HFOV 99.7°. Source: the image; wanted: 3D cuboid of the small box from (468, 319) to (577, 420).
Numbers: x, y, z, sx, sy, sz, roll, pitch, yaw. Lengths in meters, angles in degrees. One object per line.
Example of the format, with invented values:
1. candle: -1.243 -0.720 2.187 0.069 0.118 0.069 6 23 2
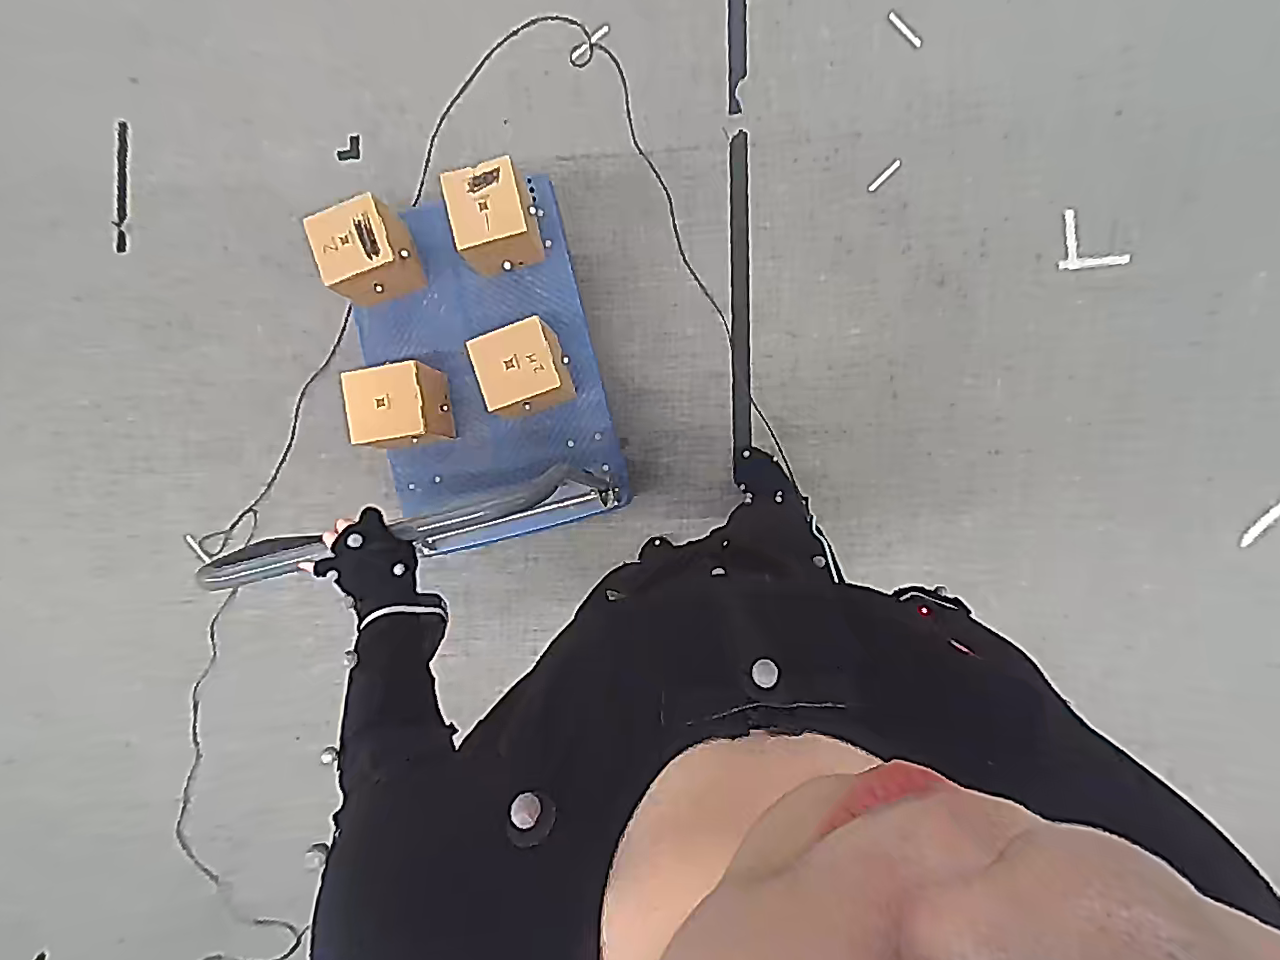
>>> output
1. small box: -0.266 -0.248 1.260 0.179 0.176 0.168 -19 89 5

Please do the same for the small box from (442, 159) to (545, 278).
1. small box: -0.335 -0.603 1.267 0.168 0.176 0.179 -14 90 5

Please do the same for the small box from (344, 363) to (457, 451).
1. small box: -0.562 -0.165 1.285 0.179 0.176 0.168 -10 89 3
